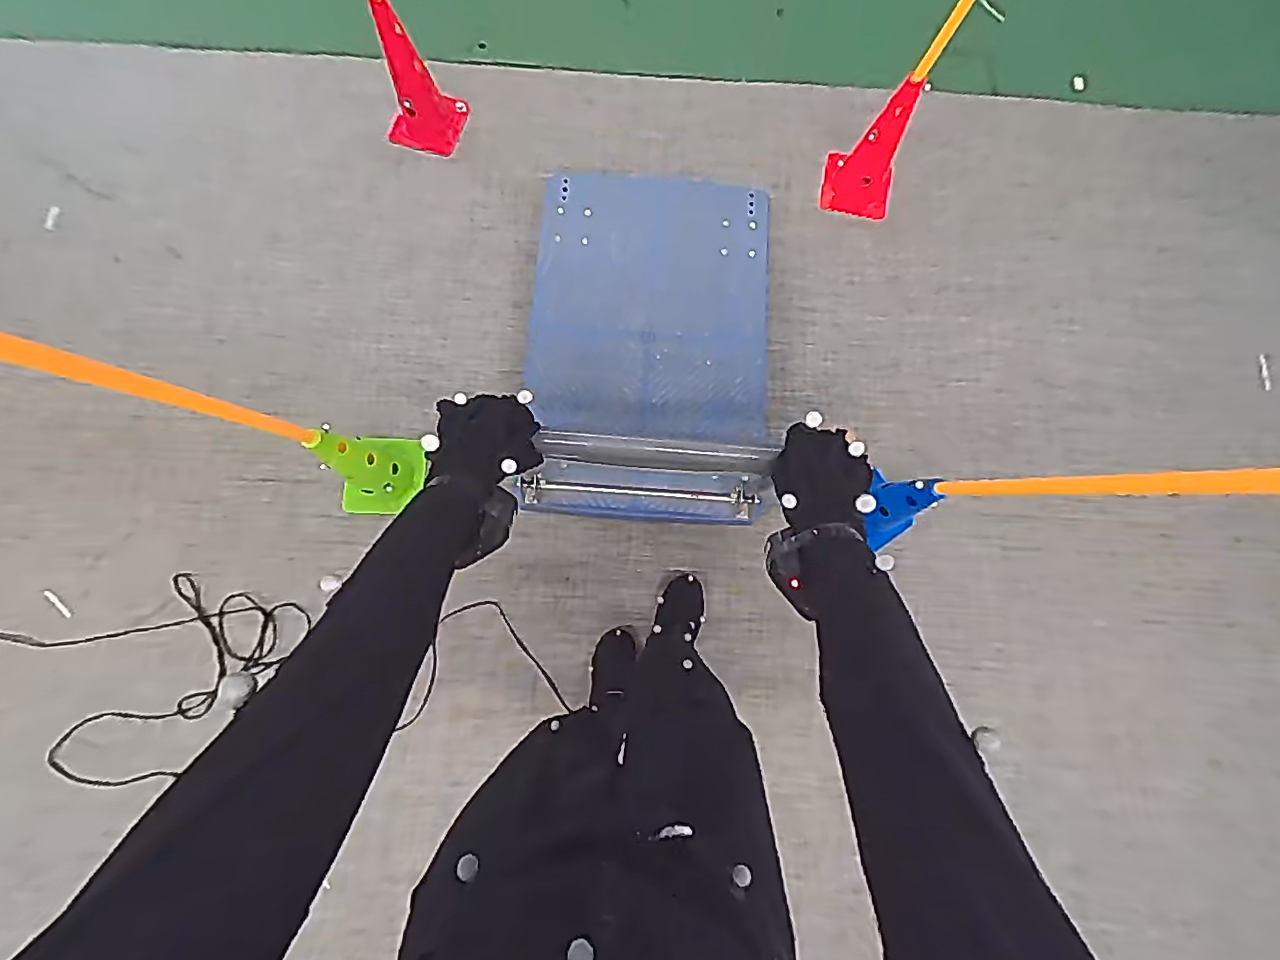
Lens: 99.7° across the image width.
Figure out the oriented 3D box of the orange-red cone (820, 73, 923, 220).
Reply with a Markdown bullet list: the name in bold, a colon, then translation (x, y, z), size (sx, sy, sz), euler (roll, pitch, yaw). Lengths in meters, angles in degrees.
- **orange-red cone**: translation (0.650, -0.910, 1.449), size (0.198, 0.360, 0.199), euler (14, 79, 2)
